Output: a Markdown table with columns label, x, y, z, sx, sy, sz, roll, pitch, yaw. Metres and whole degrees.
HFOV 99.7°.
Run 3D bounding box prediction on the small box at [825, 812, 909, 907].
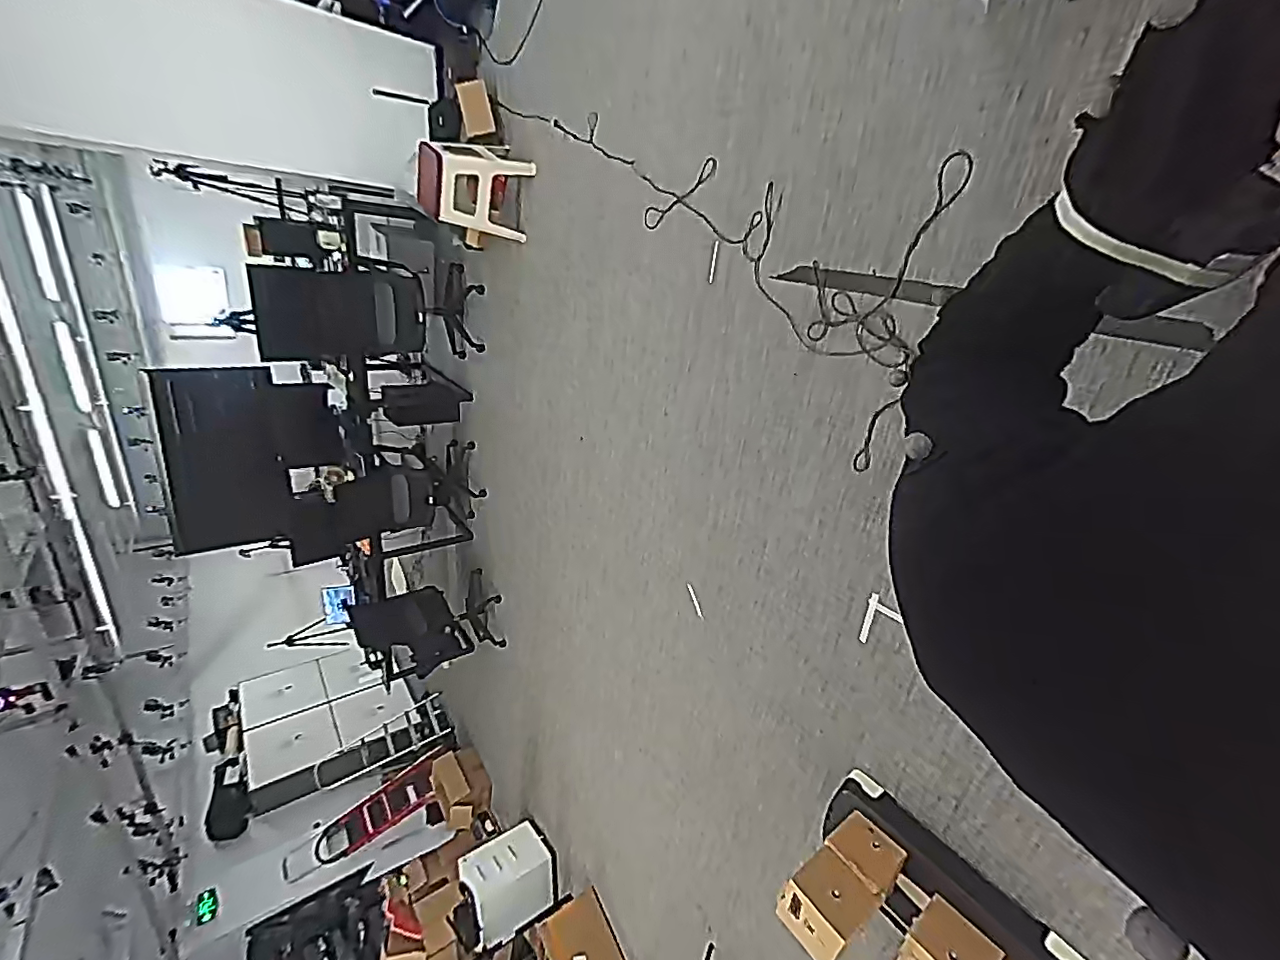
| label | x | y | z | sx | sy | sz | roll | pitch | yaw |
| --- | --- | --- | --- | --- | --- | --- | --- | --- | --- |
| small box | 0.650 | 1.122 | 1.571 | 0.168 | 0.176 | 0.179 | 29 | 121 | 46 |

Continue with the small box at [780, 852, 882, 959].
| label | x | y | z | sx | sy | sz | roll | pitch | yaw |
| --- | --- | --- | --- | --- | --- | --- | --- | --- | --- |
| small box | 0.521 | 1.164 | 1.476 | 0.179 | 0.176 | 0.168 | 35 | 126 | 42 |
